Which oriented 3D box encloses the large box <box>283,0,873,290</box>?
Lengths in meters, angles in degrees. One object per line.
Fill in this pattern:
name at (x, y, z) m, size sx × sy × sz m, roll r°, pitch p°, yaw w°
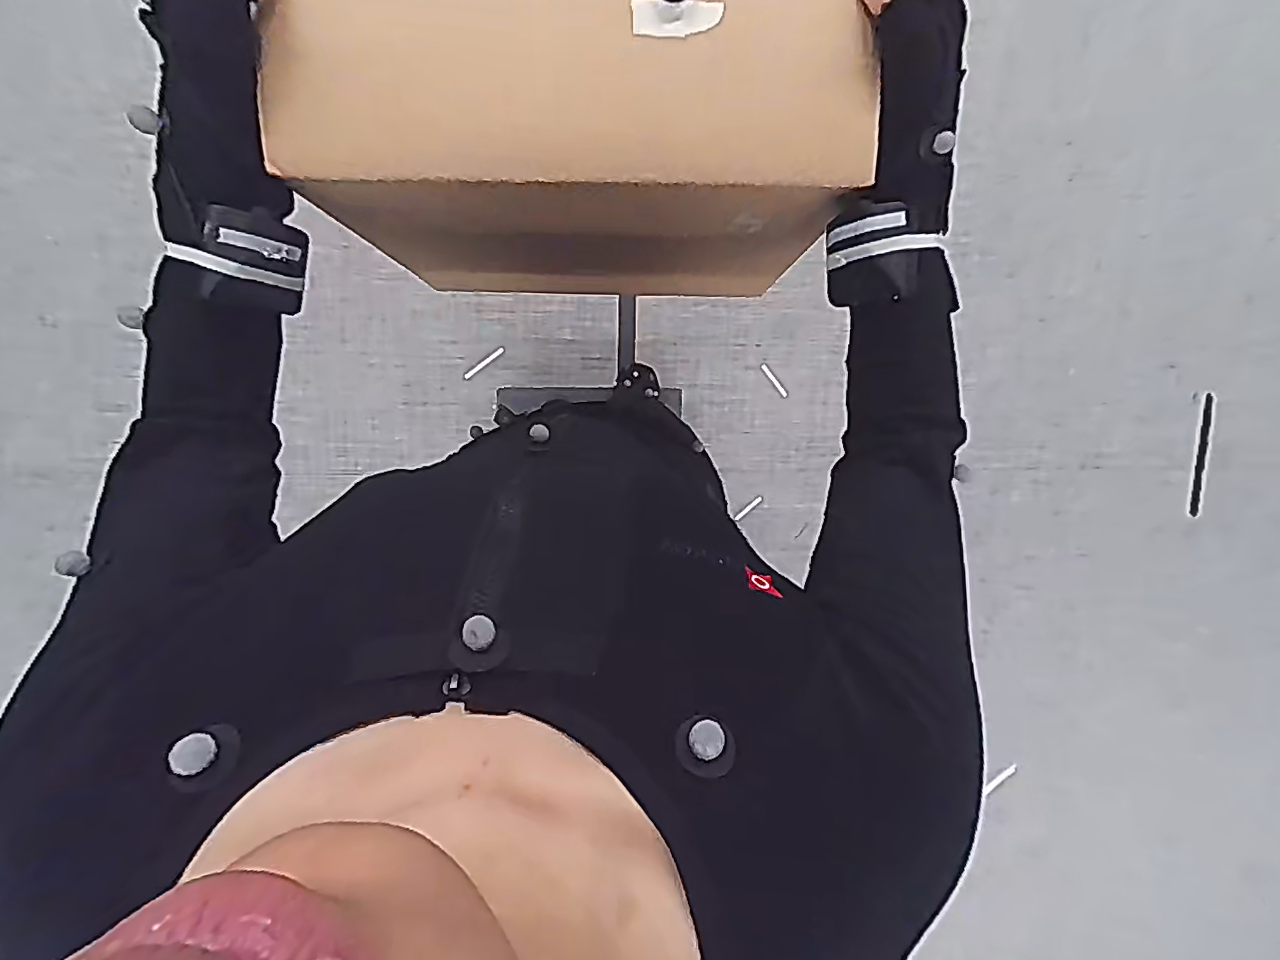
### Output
large box at (-0.044, -0.376, 0.508) m, size 0.408 × 0.320 × 0.320 m, roll 0°, pitch 96°, yaw -1°
